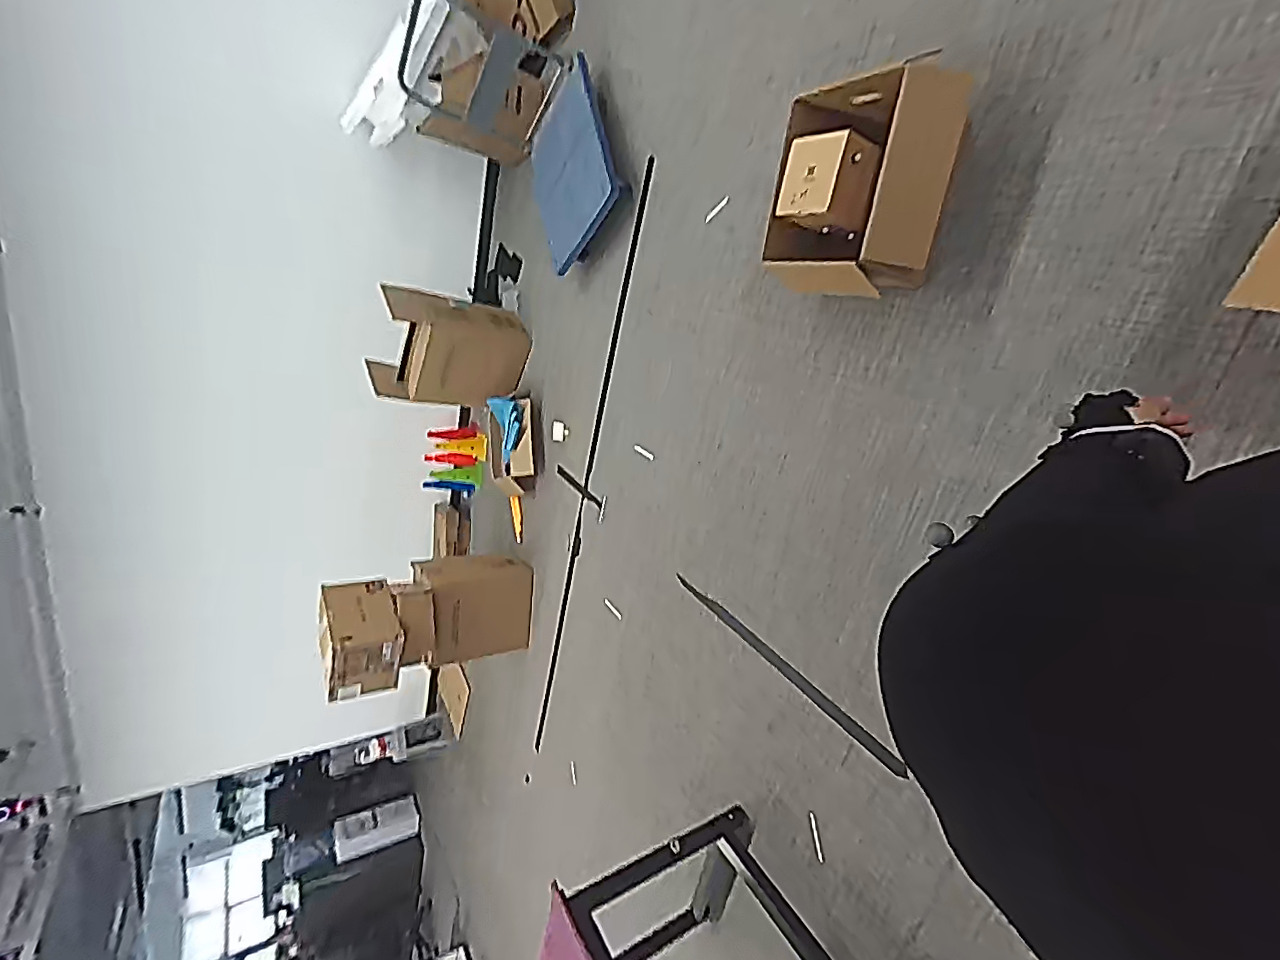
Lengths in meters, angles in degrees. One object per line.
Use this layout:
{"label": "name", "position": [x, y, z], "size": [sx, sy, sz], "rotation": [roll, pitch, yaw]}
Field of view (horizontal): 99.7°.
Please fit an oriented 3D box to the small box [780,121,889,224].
{"label": "small box", "position": [0.480, -0.745, 1.329], "size": [0.168, 0.176, 0.179], "rotation": [33, 118, 50]}
